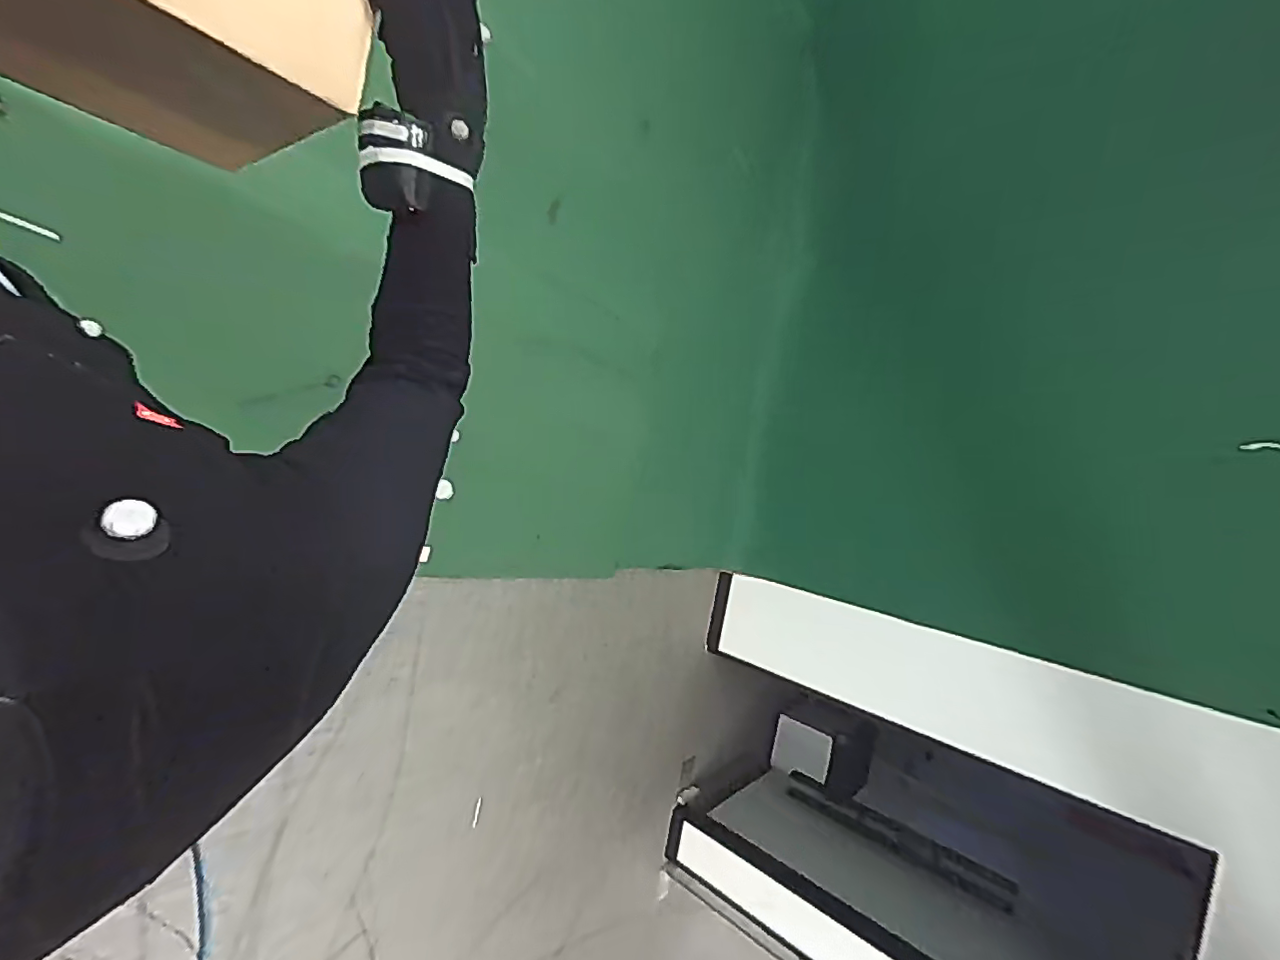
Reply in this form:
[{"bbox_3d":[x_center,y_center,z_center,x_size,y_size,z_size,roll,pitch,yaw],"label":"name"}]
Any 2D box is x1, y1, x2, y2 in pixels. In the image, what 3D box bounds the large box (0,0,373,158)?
[{"bbox_3d":[-0.404,-0.454,0.304,0.408,0.320,0.320,5,100,-50],"label":"large box"}]
